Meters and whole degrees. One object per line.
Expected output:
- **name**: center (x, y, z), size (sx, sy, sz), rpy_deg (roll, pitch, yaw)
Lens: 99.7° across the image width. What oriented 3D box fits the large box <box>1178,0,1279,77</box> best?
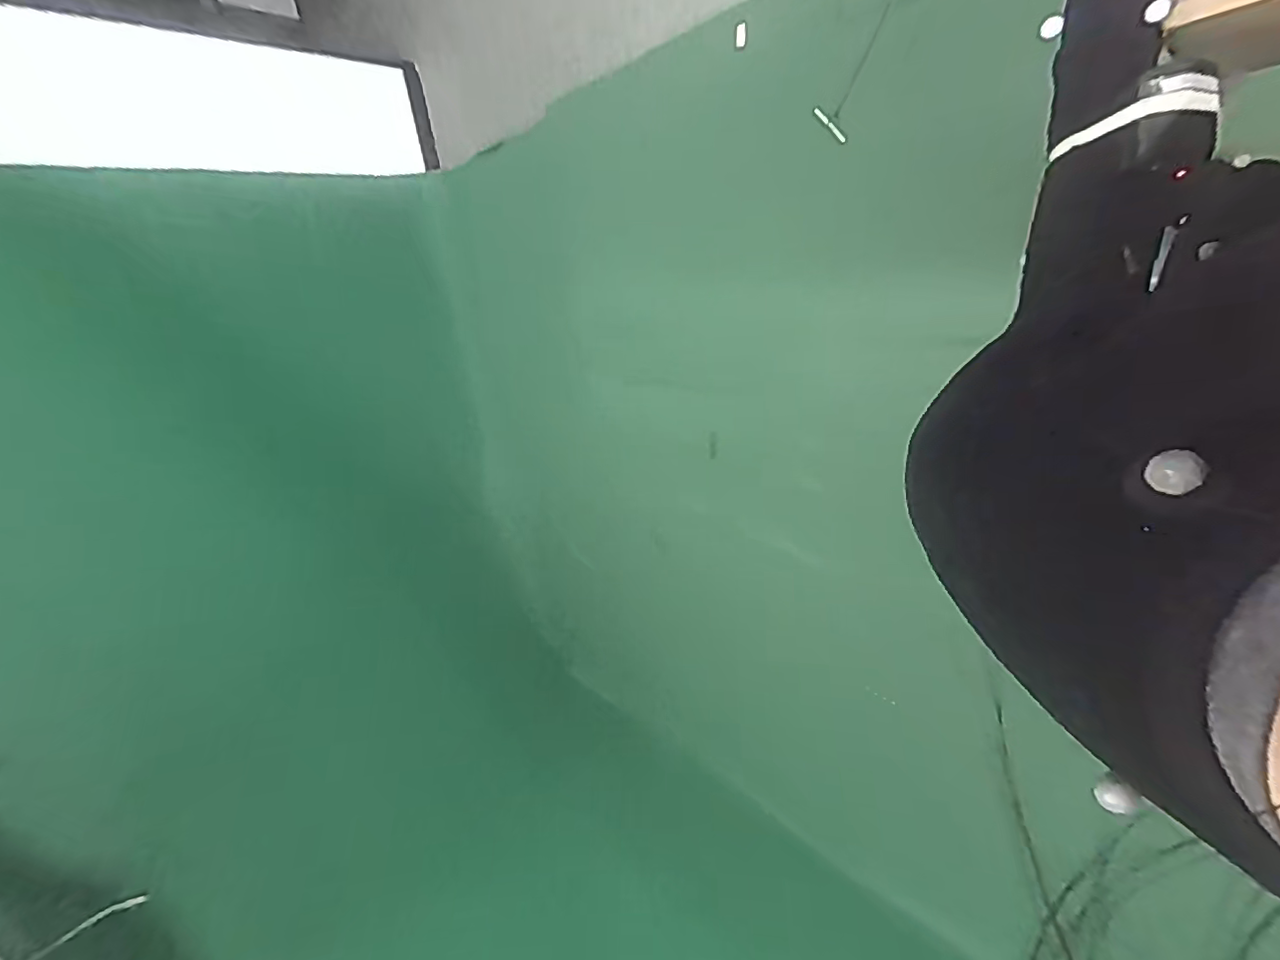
- **large box**: center (0.589, -0.475, 0.273), size (0.408, 0.320, 0.320), rpy_deg (12, 117, 45)
